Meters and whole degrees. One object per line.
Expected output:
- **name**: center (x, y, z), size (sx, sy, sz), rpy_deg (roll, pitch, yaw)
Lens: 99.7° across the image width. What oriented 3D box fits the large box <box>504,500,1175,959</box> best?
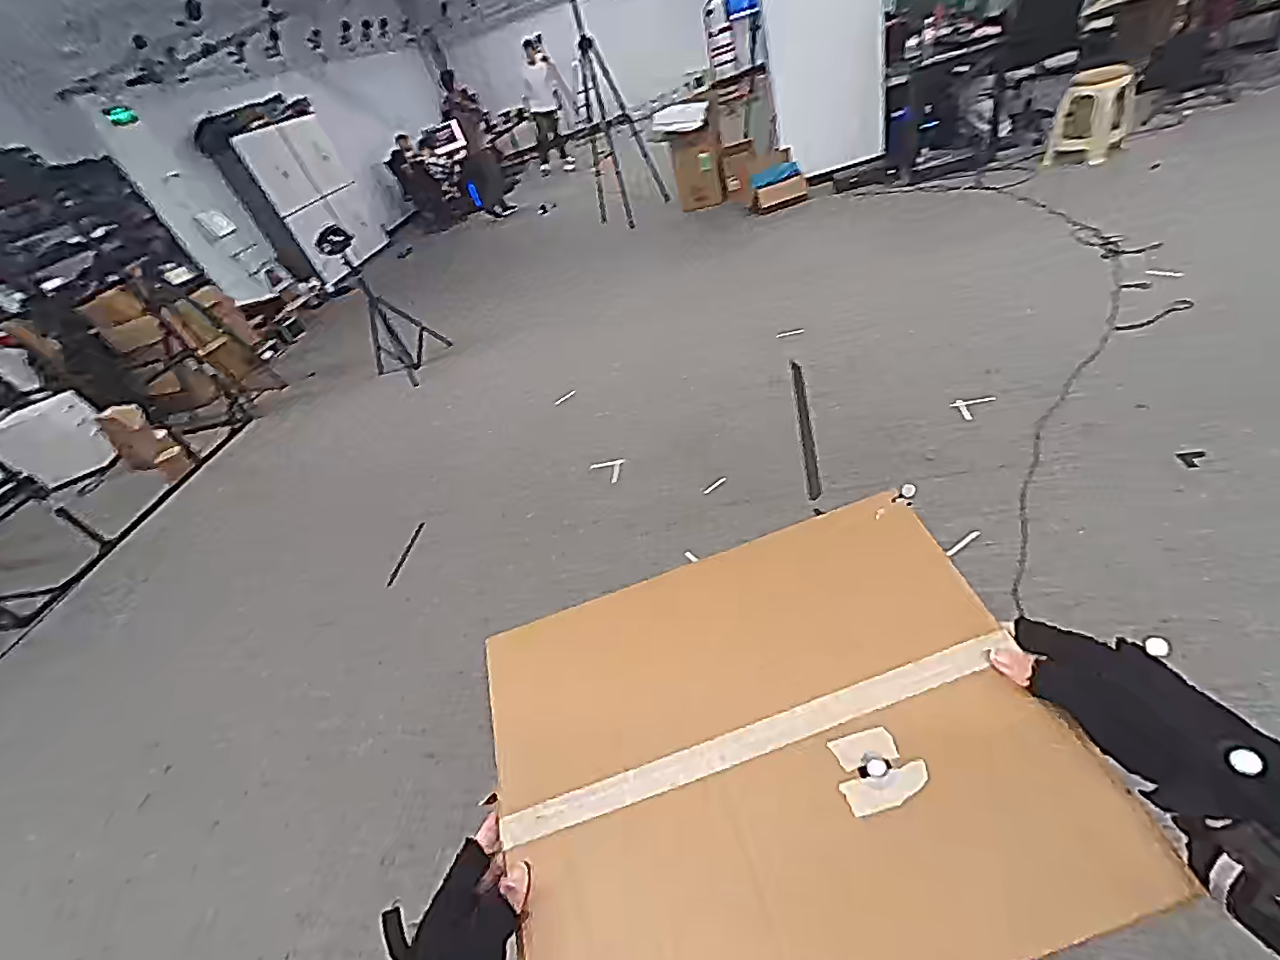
- **large box**: center (0.129, 0.287, 0.530), size (0.408, 0.320, 0.320), rpy_deg (-20, 52, -1)
